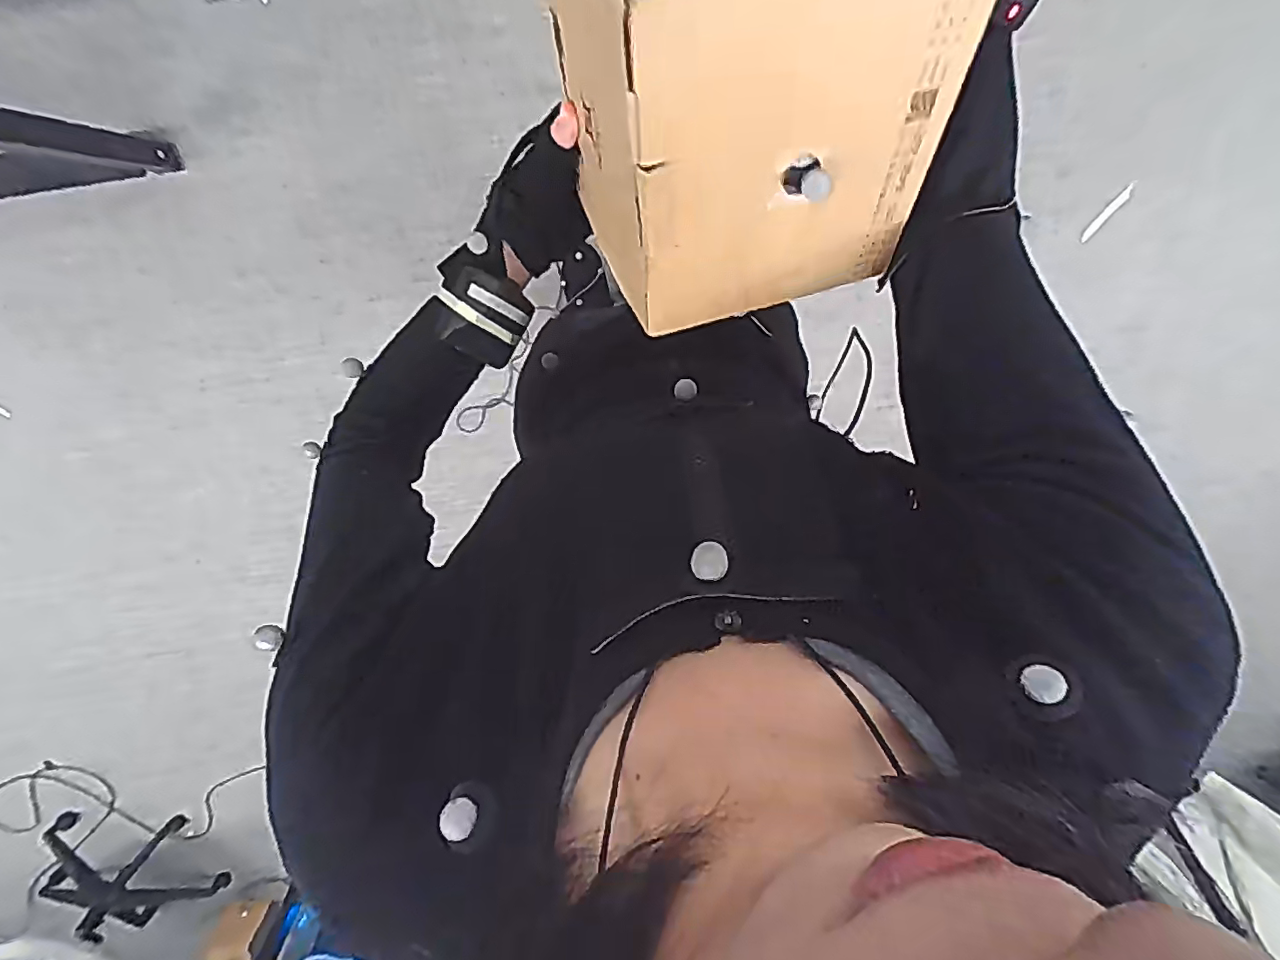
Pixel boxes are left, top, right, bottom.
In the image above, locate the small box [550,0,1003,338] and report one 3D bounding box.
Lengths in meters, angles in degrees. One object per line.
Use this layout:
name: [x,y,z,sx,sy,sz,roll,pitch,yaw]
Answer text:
small box: [0.056,-0.217,0.308,0.176,0.179,0.168,-17,149,-8]
